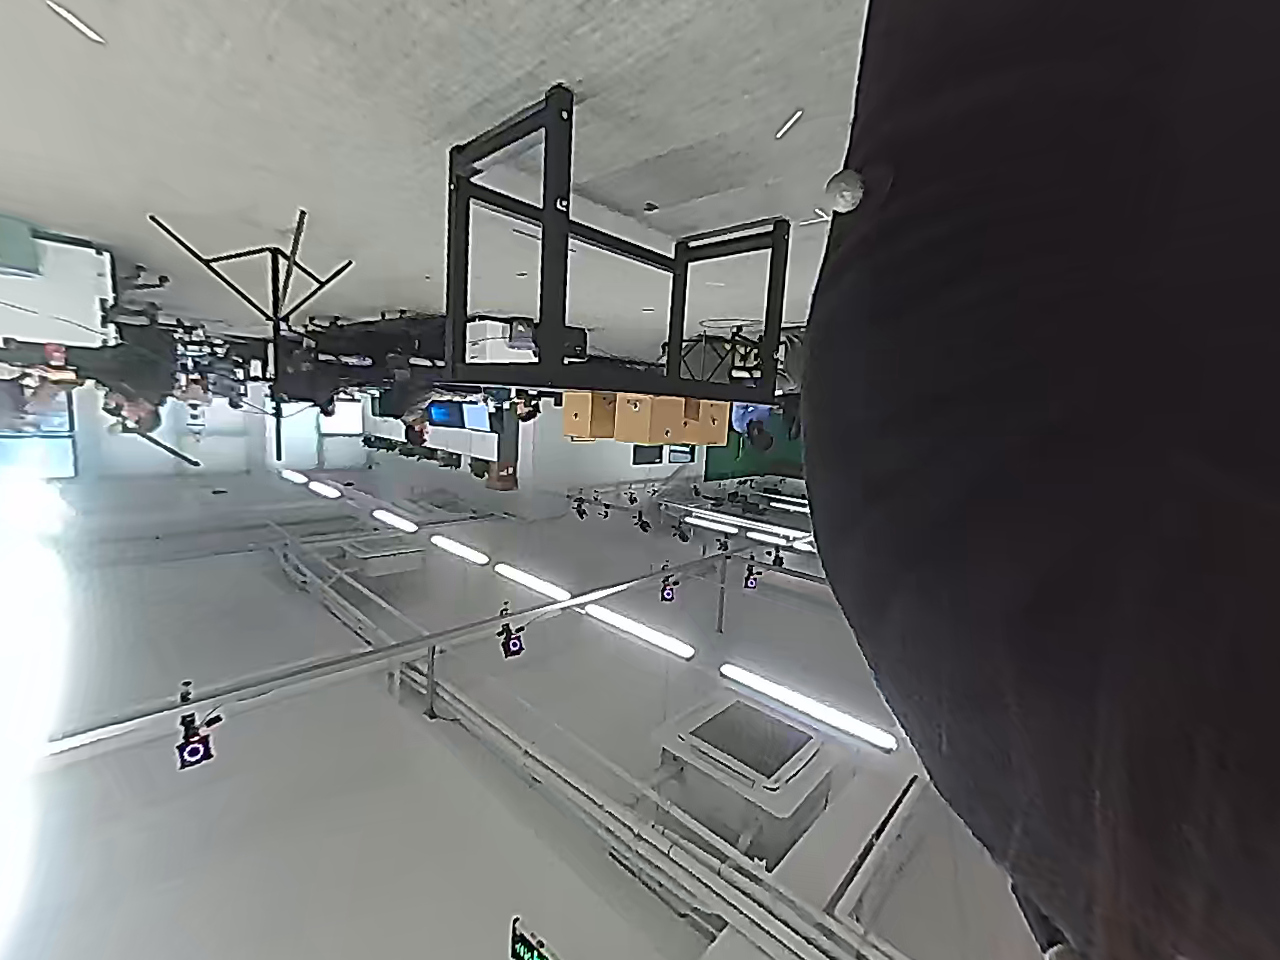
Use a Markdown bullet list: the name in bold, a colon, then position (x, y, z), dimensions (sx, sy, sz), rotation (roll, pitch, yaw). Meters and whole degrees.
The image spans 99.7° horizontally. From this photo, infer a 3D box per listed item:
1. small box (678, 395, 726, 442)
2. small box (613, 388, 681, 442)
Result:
- **small box**: position (0.210, -0.236, 2.039), dimensions (0.168, 0.176, 0.179), rotation (-3, -170, -41)
- **small box**: position (0.027, -0.223, 1.859), dimensions (0.168, 0.176, 0.179), rotation (11, -170, 43)
